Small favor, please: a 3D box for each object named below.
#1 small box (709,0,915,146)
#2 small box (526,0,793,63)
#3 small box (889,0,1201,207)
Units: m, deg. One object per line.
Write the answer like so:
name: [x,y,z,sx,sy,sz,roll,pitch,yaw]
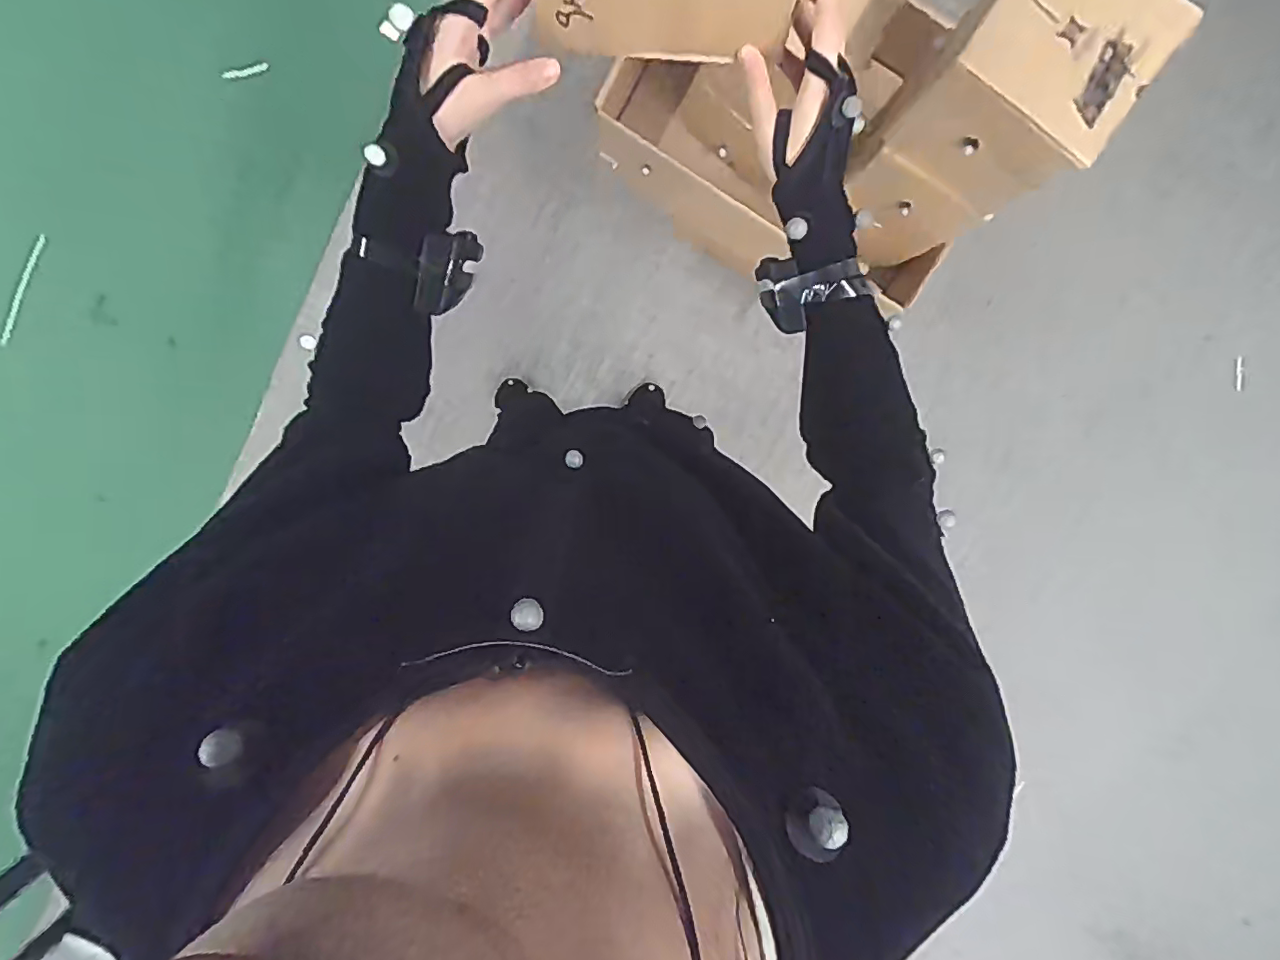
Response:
small box: [0.219,-0.597,0.737,0.179,0.176,0.168,36,96,-9]
small box: [0.014,-0.399,0.325,0.179,0.168,0.176,0,75,-5]
small box: [0.424,-0.435,0.600,0.179,0.176,0.168,33,98,-5]
